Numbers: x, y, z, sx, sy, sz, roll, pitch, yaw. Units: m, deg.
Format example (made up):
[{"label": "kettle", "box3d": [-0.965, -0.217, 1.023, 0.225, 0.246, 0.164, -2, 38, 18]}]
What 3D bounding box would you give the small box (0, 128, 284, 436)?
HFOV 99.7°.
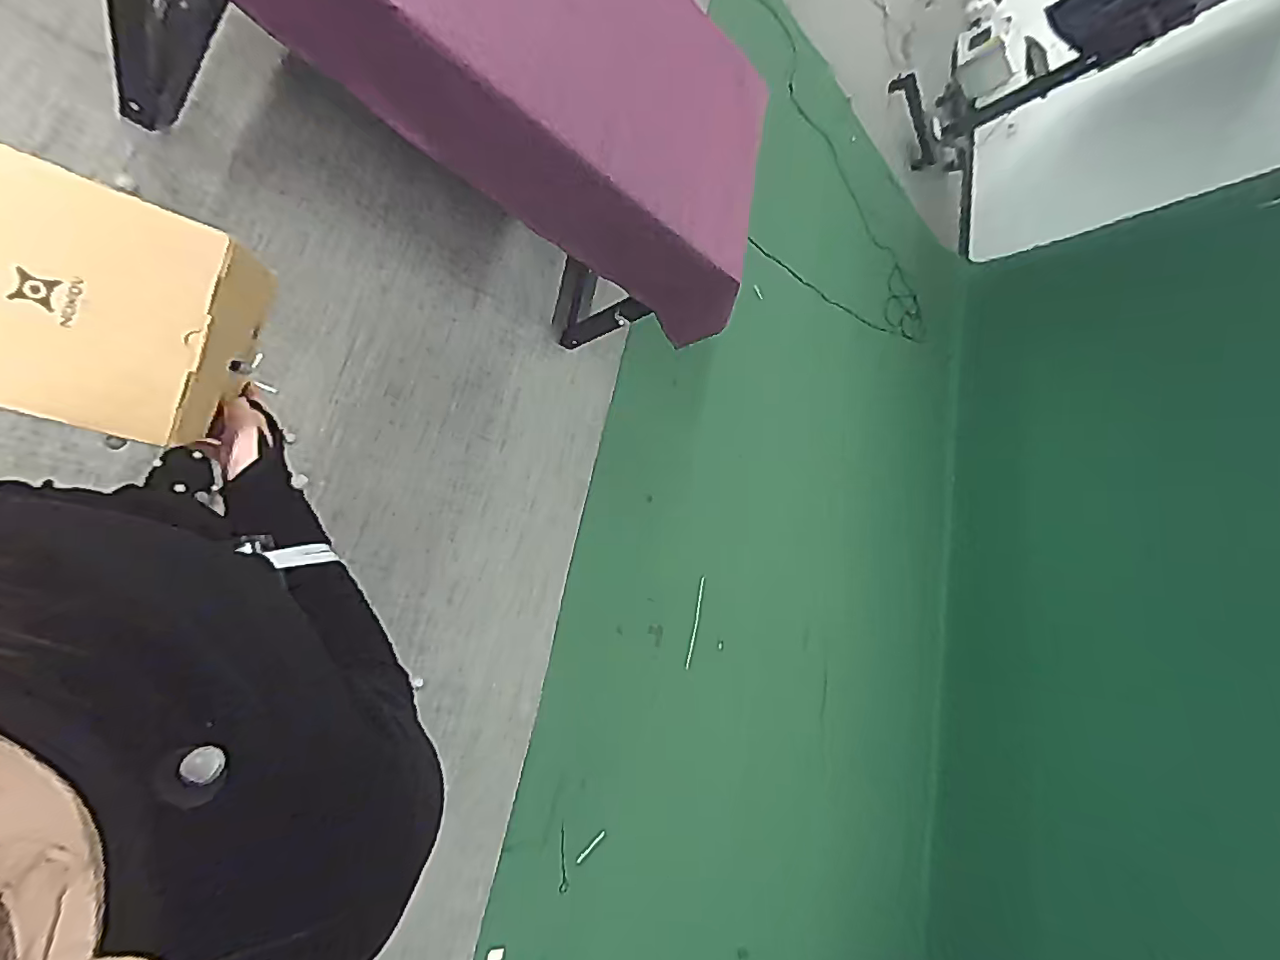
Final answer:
[{"label": "small box", "box3d": [-0.424, -0.146, 0.440, 0.179, 0.176, 0.168, 18, 93, -27]}]
